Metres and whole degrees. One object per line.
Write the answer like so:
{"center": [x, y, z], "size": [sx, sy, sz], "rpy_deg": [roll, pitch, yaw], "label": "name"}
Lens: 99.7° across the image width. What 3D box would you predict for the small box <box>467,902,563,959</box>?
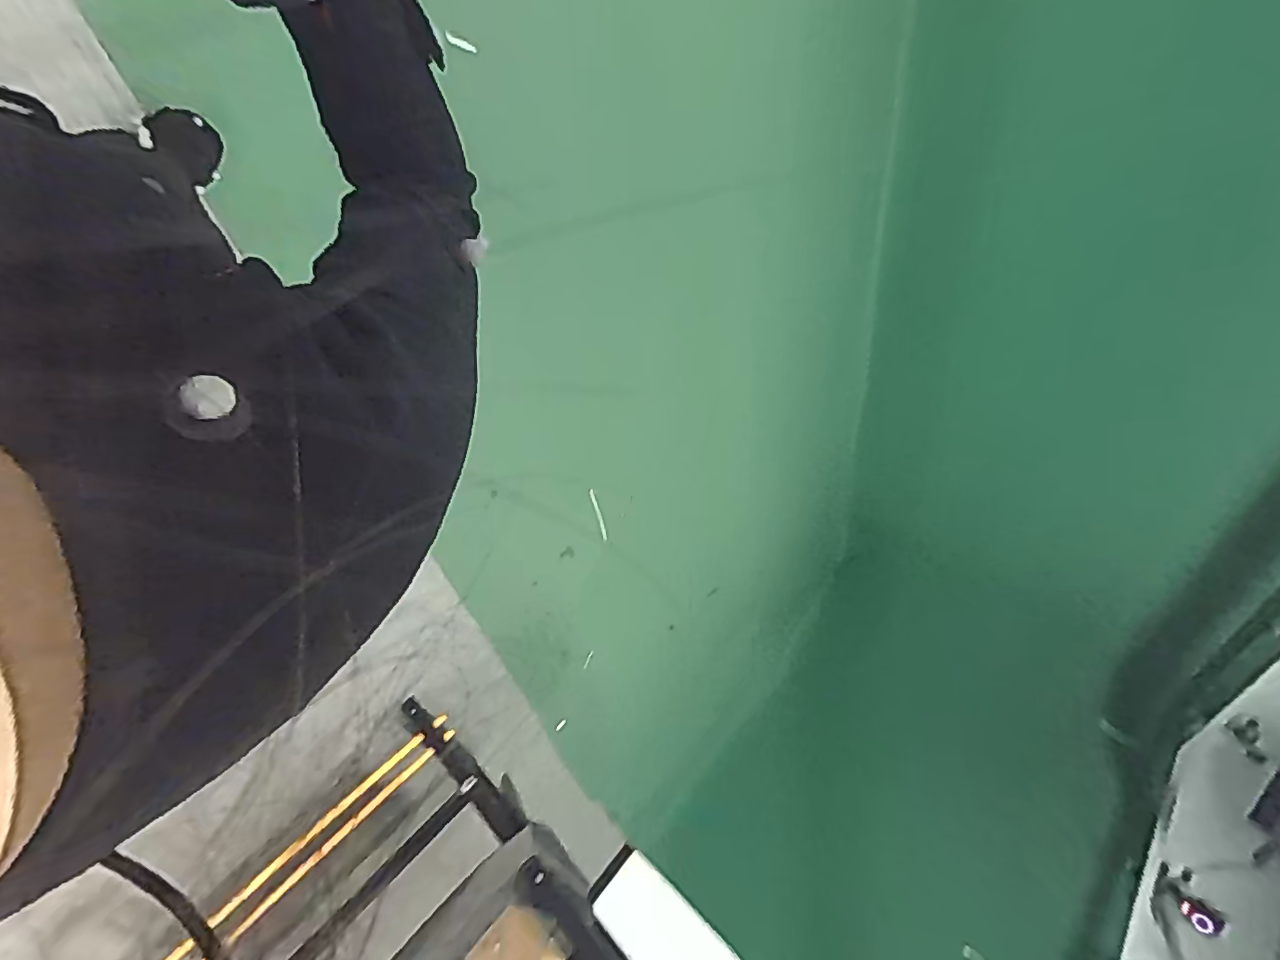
{"center": [-0.348, 1.330, 1.511], "size": [0.168, 0.176, 0.179], "rpy_deg": [-42, 139, -26], "label": "small box"}
